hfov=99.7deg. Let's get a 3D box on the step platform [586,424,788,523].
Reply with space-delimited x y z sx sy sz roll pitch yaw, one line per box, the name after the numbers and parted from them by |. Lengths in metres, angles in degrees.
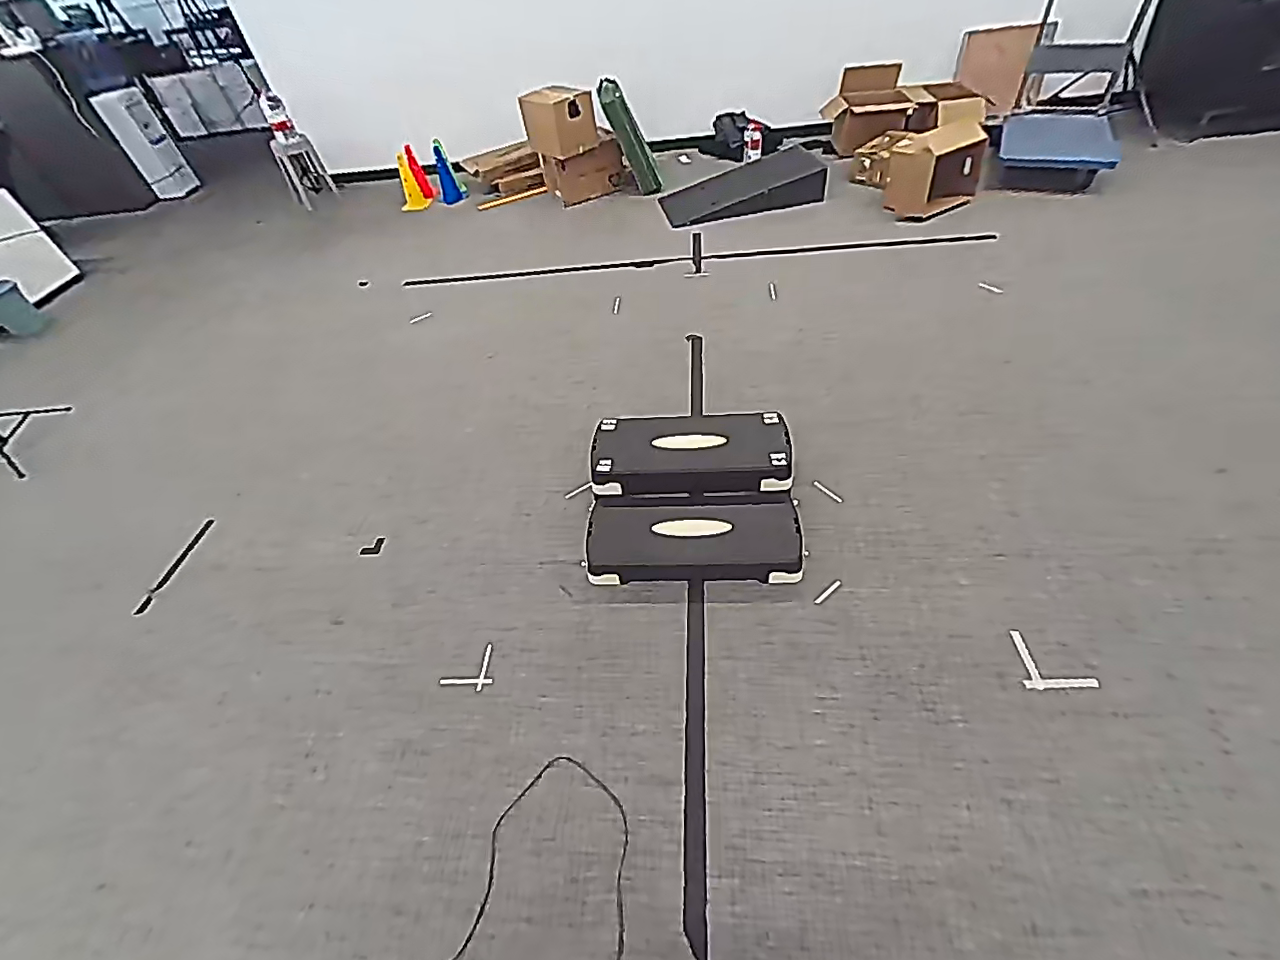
0.156 -0.027 1.868 0.684 0.204 0.286 -2 48 5 | step platform
